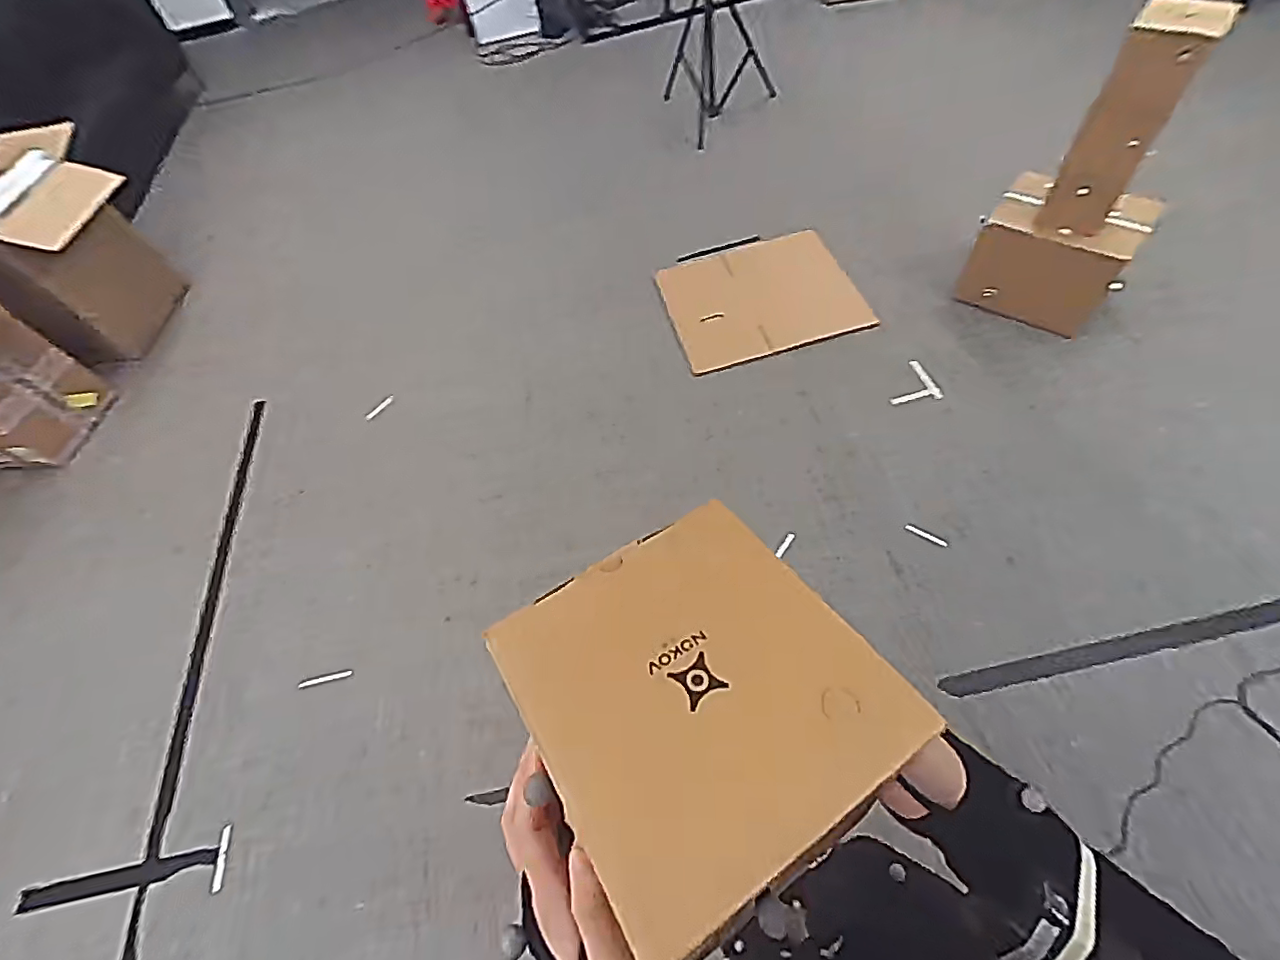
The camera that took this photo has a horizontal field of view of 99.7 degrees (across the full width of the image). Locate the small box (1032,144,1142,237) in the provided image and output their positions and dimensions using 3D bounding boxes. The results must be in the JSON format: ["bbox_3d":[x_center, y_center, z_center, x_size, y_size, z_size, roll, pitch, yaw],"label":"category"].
[{"bbox_3d":[1.308,-0.851,1.596,0.179,0.176,0.168,31,69,24],"label":"small box"}]

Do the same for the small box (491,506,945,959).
[{"bbox_3d":[0.036,0.156,0.332,0.168,0.176,0.179,-27,48,-18],"label":"small box"}]

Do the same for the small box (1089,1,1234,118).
[{"bbox_3d":[1.259,-1.019,1.317,0.179,0.176,0.168,31,68,24],"label":"small box"}]
